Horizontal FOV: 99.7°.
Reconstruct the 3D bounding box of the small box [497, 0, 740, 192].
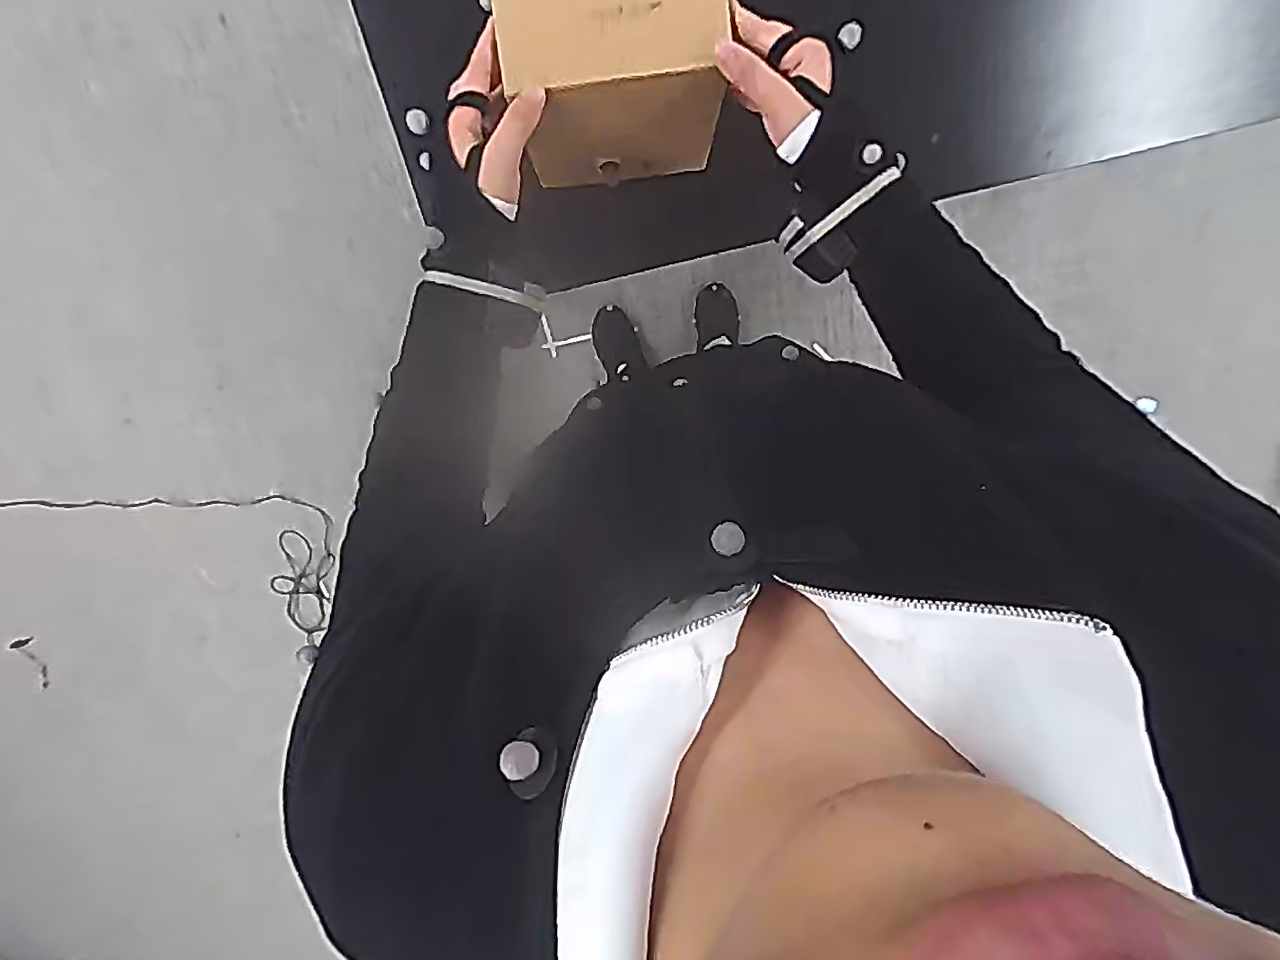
[{"bbox_3d":[-0.021,-0.370,0.446,0.168,0.176,0.179,-8,98,2],"label":"small box"}]
